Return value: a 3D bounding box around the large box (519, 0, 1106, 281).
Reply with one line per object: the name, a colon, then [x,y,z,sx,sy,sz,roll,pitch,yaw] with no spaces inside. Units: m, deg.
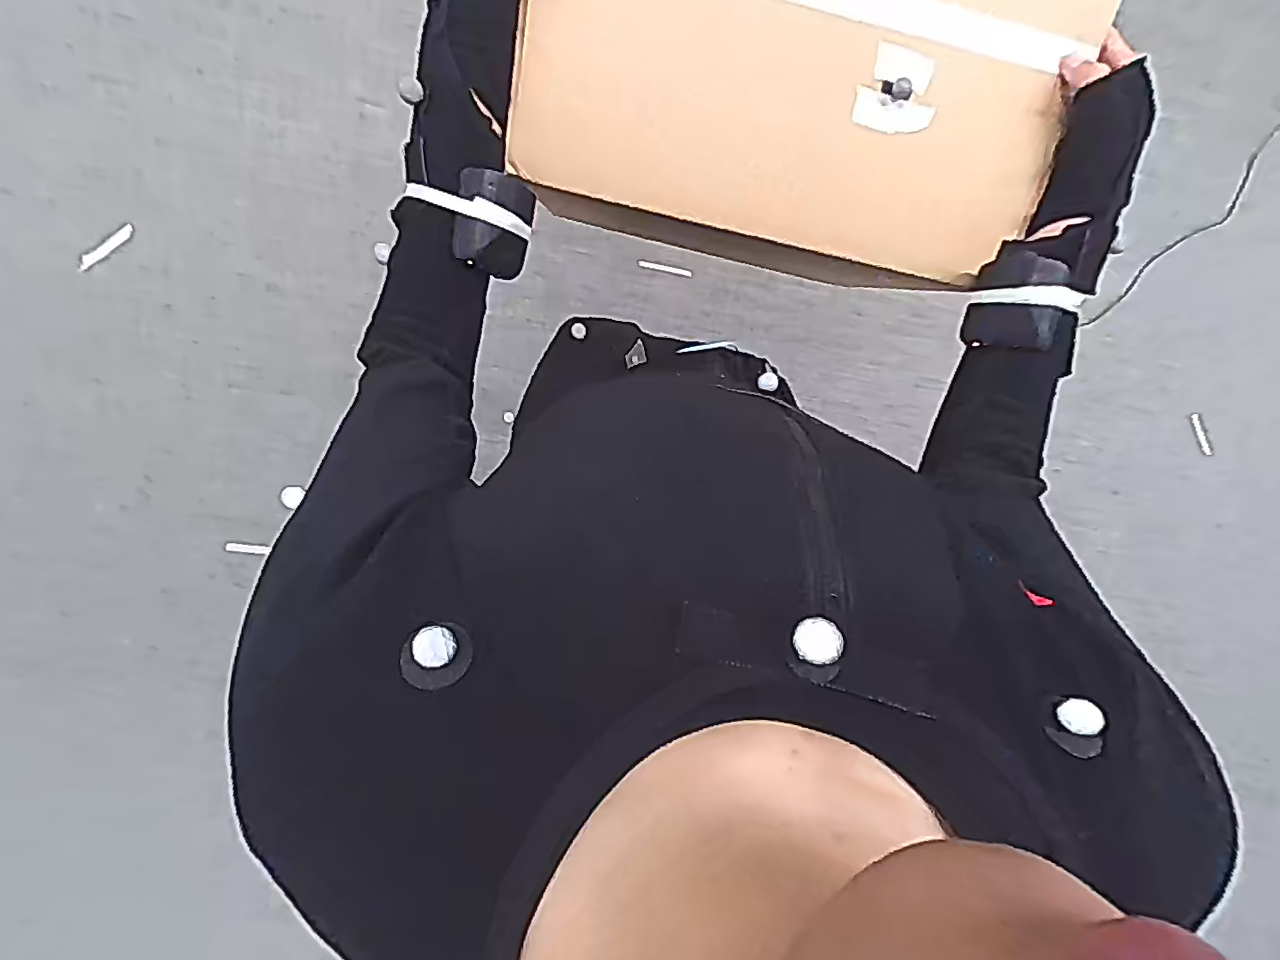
large box: [0.120,-0.392,0.517,0.408,0.320,0.320,10,112,-7]
